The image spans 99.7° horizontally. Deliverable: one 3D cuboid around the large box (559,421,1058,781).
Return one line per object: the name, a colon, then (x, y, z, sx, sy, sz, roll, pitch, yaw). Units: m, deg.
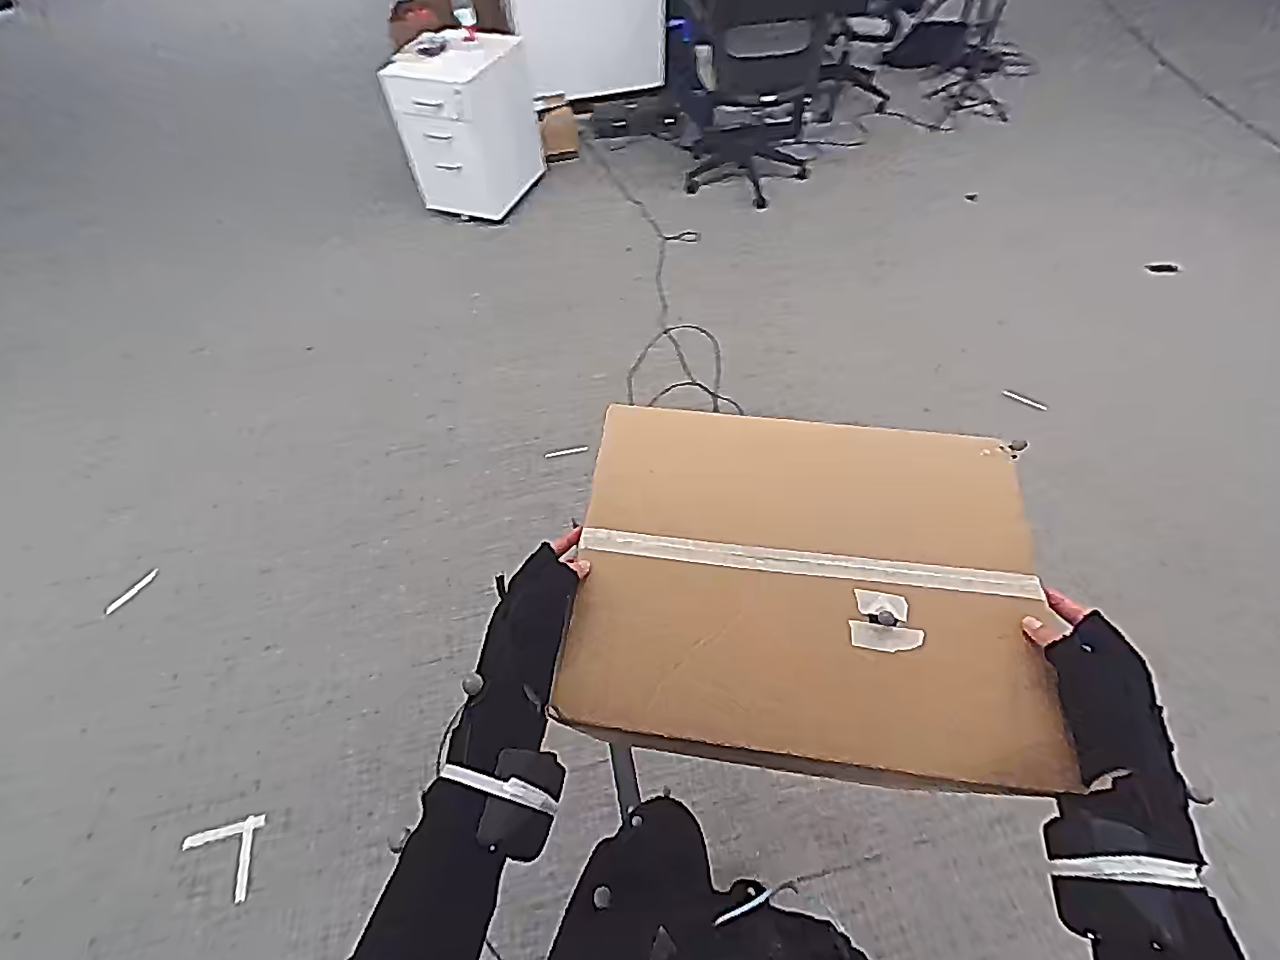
large box: (0.148, 0.154, 0.633, 0.408, 0.320, 0.320, 5, 62, 6)
